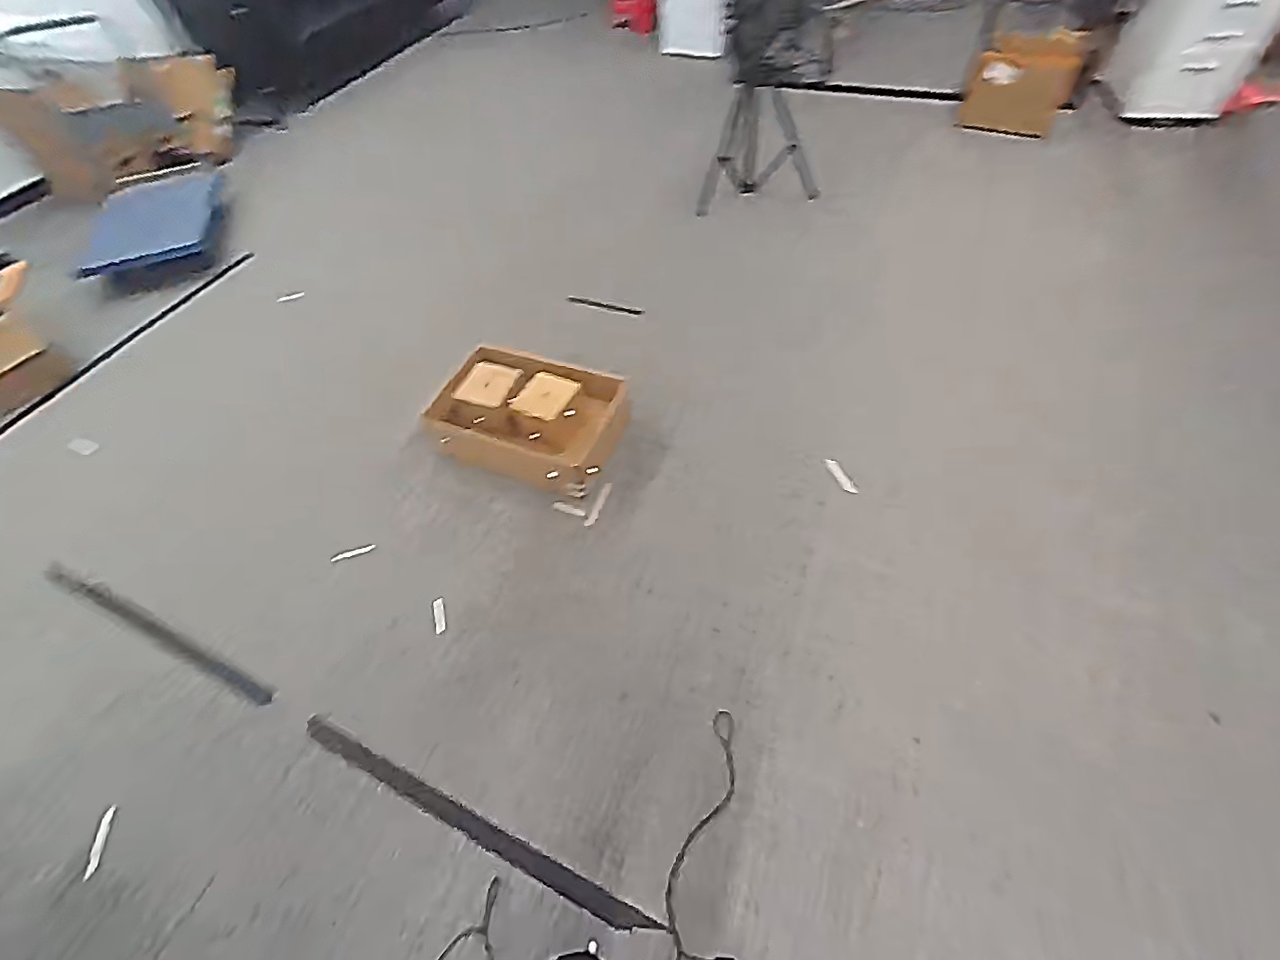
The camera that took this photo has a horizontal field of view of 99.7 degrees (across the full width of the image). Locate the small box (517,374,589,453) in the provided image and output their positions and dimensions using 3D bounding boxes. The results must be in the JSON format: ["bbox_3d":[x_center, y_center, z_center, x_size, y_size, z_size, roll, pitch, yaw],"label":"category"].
[{"bbox_3d":[-0.288,-0.224,1.846,0.168,0.176,0.179,22,60,20],"label":"small box"}]

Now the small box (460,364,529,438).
[{"bbox_3d":[-0.494,-0.272,1.896,0.168,0.176,0.179,17,58,14],"label":"small box"}]
